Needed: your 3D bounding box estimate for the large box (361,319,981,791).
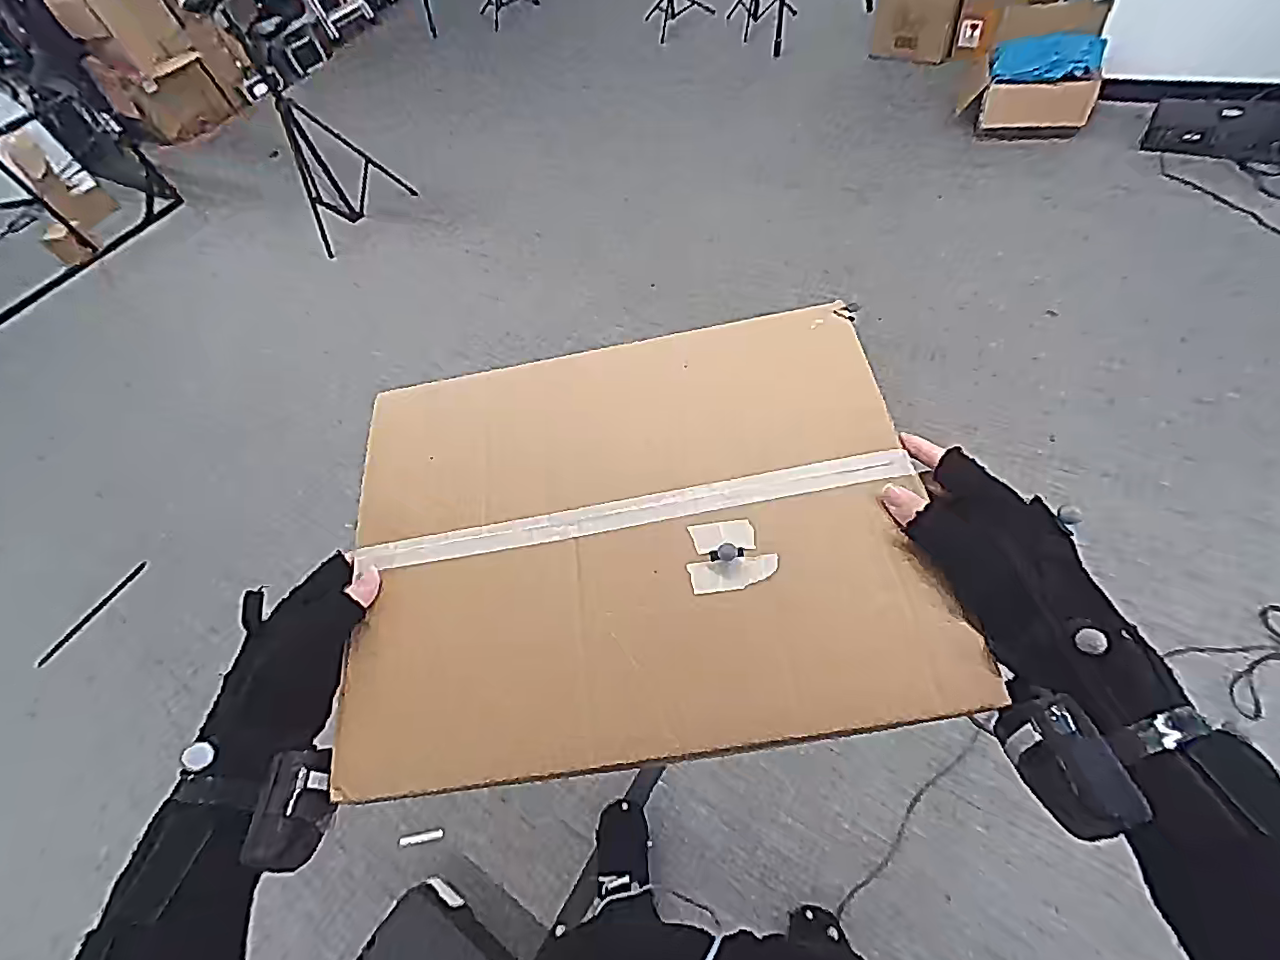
[{"bbox_3d":[0.013,0.097,0.536,0.408,0.320,0.320,-10,63,3],"label":"large box"}]
